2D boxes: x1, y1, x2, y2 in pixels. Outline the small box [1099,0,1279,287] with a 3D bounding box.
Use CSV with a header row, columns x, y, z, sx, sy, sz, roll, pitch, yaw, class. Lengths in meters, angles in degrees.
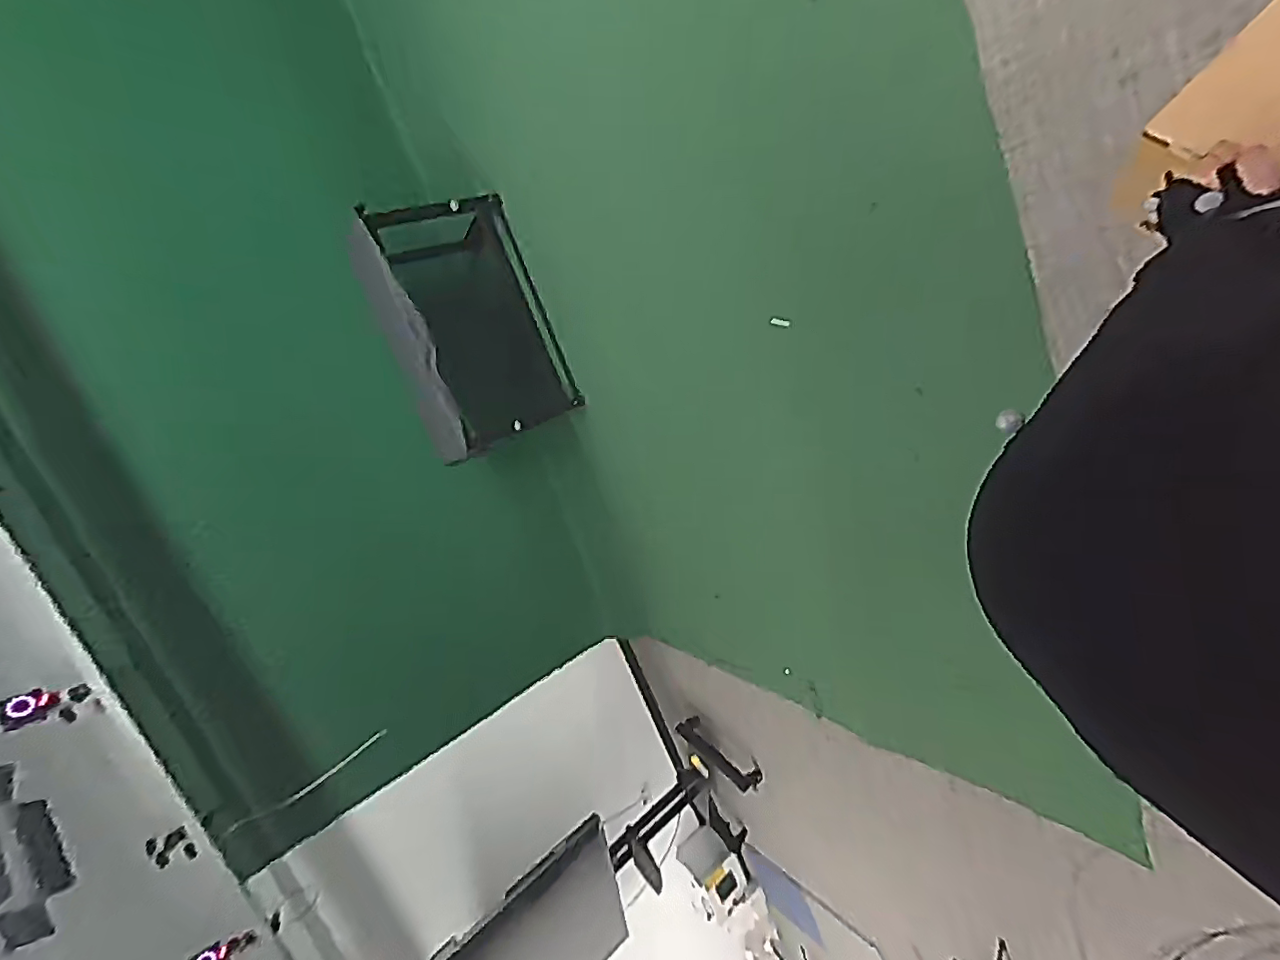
x,y,z,sx,sy,sz,roll,pitch,yaw,class
0.626,-0.334,0.539,0.176,0.179,0.168,-50,66,19,small box
